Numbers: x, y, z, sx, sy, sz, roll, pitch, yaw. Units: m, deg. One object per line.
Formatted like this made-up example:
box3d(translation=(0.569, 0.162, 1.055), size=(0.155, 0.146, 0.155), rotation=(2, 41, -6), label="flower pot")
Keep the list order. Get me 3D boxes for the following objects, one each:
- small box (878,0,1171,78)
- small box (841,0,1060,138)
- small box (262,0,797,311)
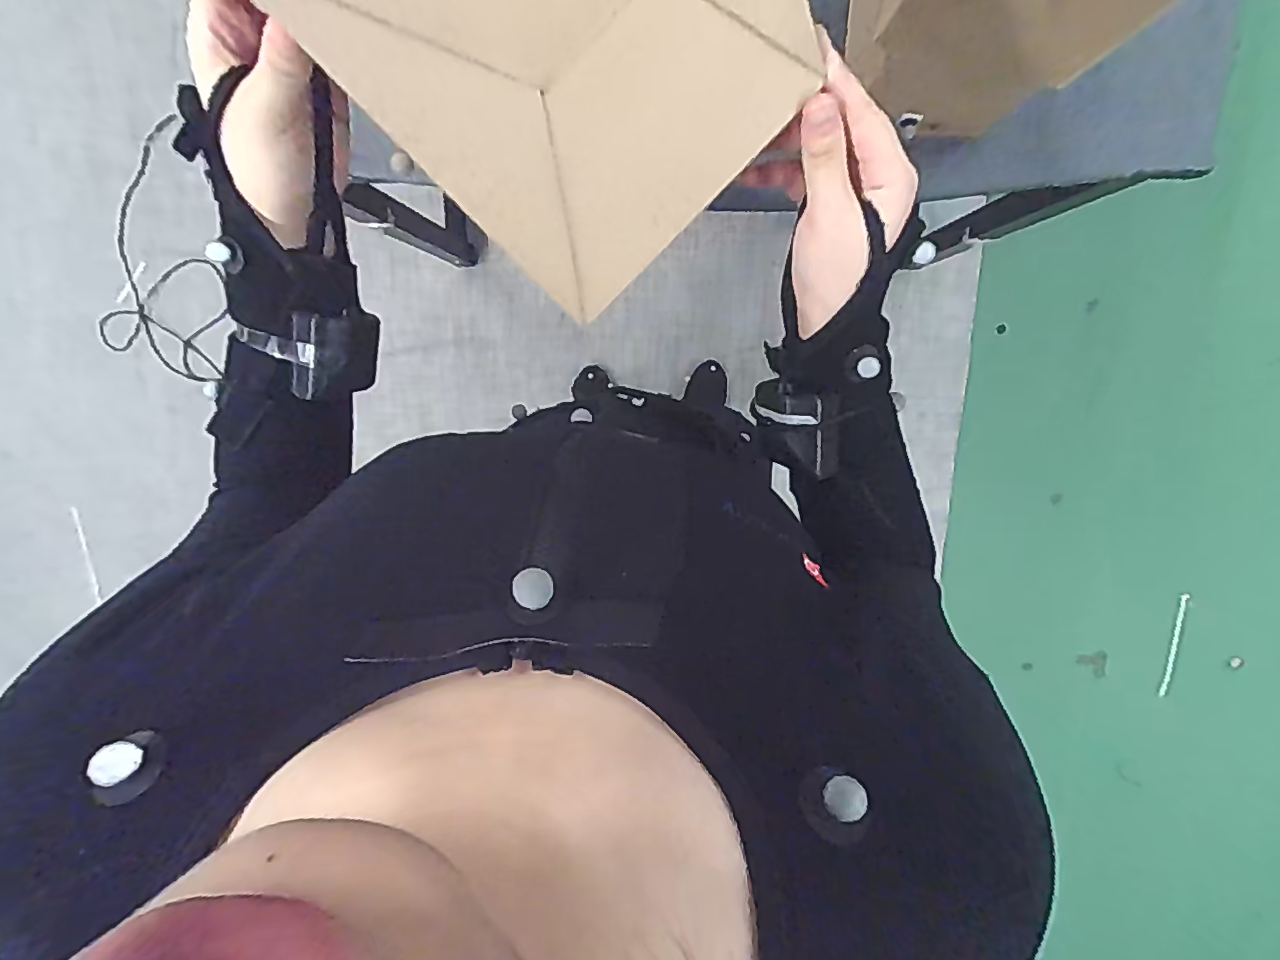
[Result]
box3d(translation=(0.305, -0.430, 0.387), size=(0.179, 0.176, 0.168), rotation=(13, 102, 2), label="small box")
box3d(translation=(0.315, -0.477, 0.543), size=(0.168, 0.176, 0.179), rotation=(3, 102, 3), label="small box")
box3d(translation=(-0.054, -0.216, 0.254), size=(0.168, 0.179, 0.176), rotation=(-43, 52, 8), label="small box")
